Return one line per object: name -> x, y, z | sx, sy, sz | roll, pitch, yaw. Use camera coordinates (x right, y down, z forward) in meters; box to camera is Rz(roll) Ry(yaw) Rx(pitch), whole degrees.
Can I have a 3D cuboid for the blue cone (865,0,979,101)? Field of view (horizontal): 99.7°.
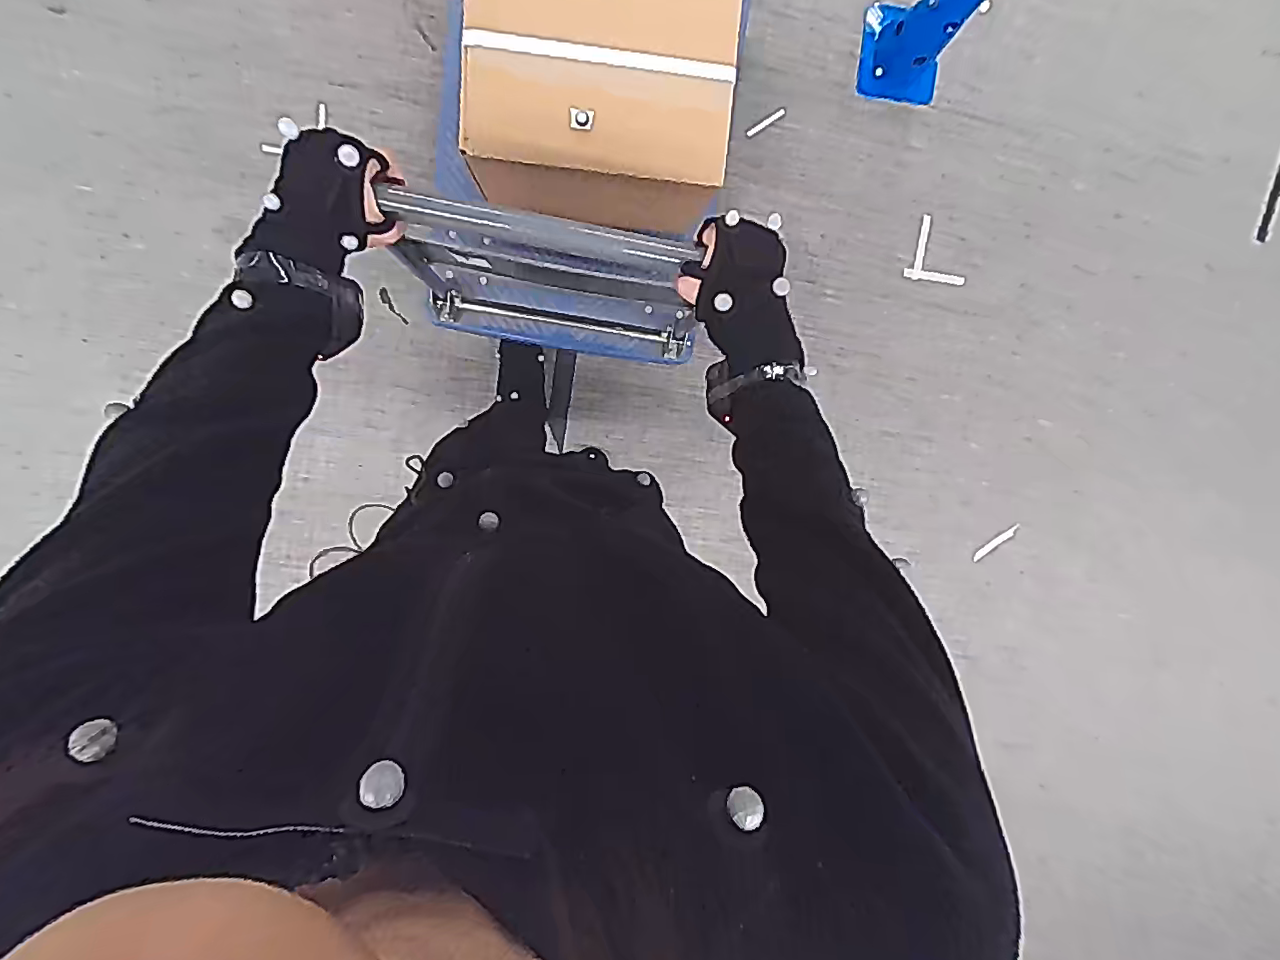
blue cone -> 0.658, -1.002, 1.149 | 0.193, 0.380, 0.192 | 4, 99, -8
